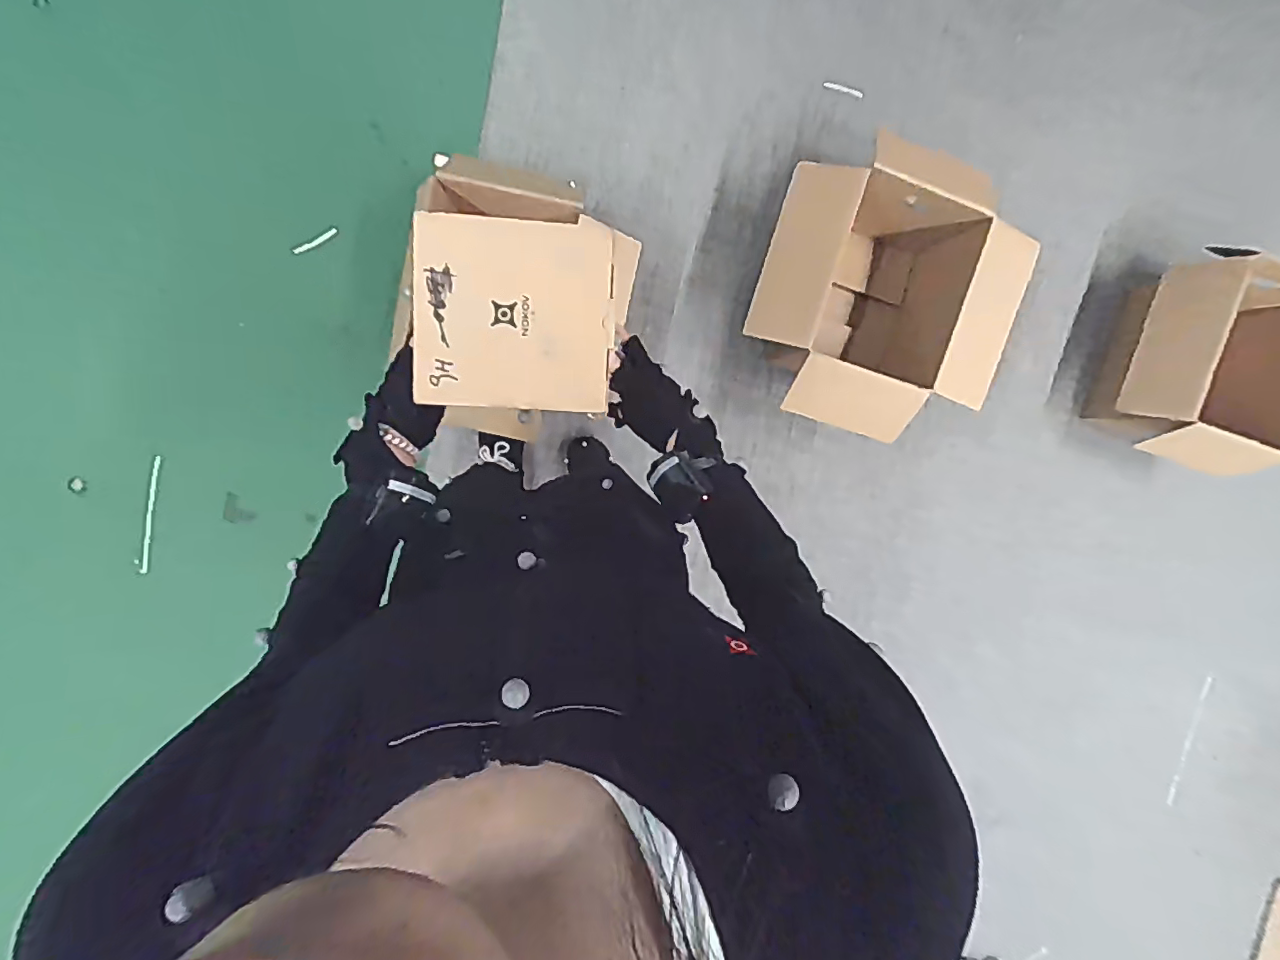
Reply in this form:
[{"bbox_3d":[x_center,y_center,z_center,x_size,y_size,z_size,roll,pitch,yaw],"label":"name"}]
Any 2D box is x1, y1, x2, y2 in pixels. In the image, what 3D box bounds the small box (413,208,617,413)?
[{"bbox_3d":[-0.123,-0.161,0.567,0.179,0.176,0.168,3,97,-8],"label":"small box"}]
